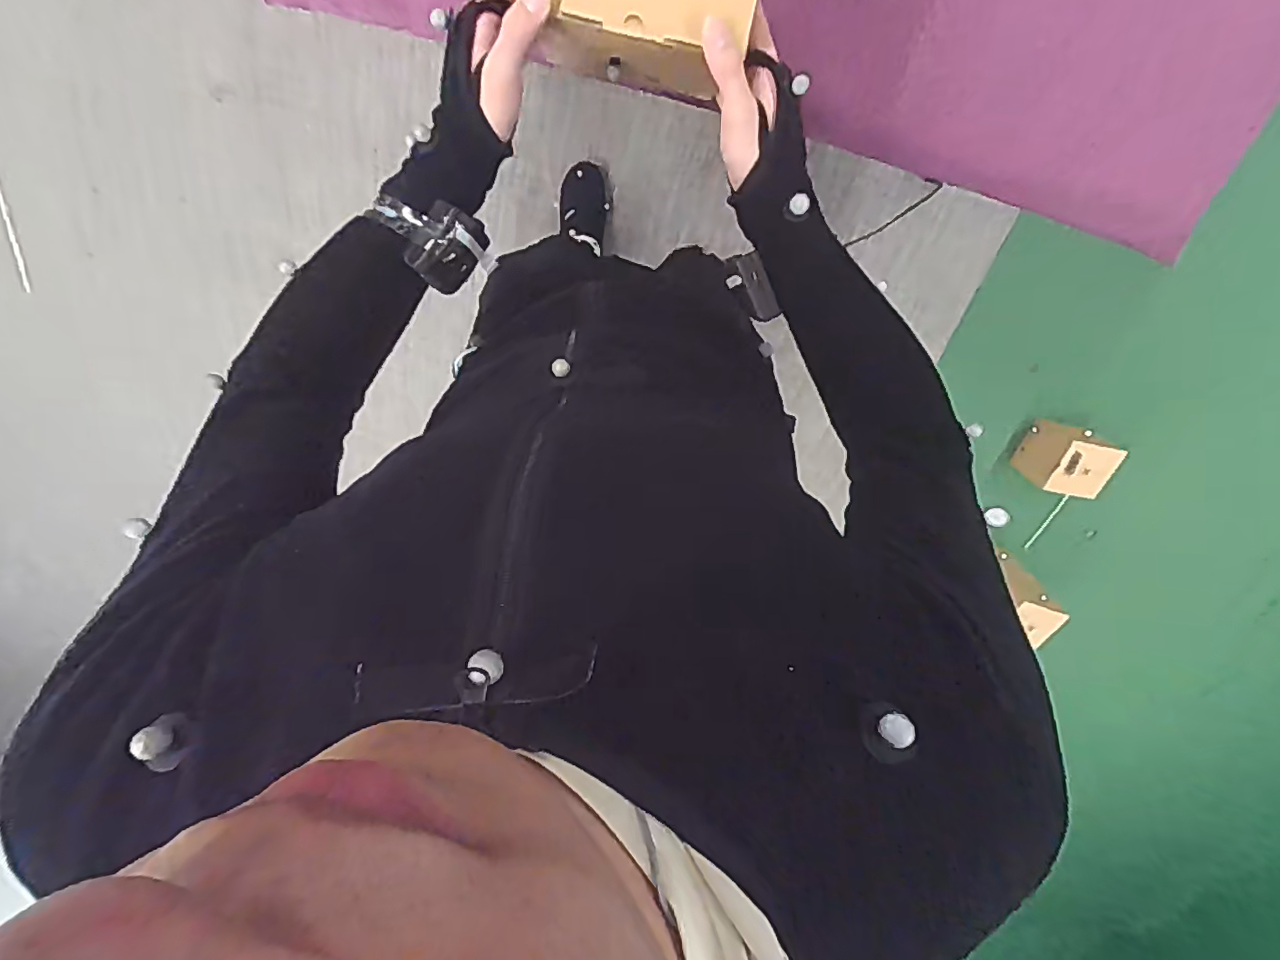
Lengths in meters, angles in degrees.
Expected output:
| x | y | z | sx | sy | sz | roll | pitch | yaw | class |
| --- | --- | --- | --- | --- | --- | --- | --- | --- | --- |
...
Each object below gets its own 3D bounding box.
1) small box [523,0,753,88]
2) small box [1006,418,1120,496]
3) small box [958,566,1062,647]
| x | y | z | sx | sy | sz | roll | pitch | yaw | class |
| --- | --- | --- | --- | --- | --- | --- | --- | --- | --- |
| 0.005 | -0.432 | 0.413 | 0.168 | 0.176 | 0.179 | 8 | 119 | -7 | small box |
| 1.270 | -0.075 | 1.642 | 0.179 | 0.176 | 0.168 | 10 | 120 | -7 | small box |
| 1.173 | 0.399 | 1.727 | 0.179 | 0.176 | 0.168 | 19 | 118 | -11 | small box |
